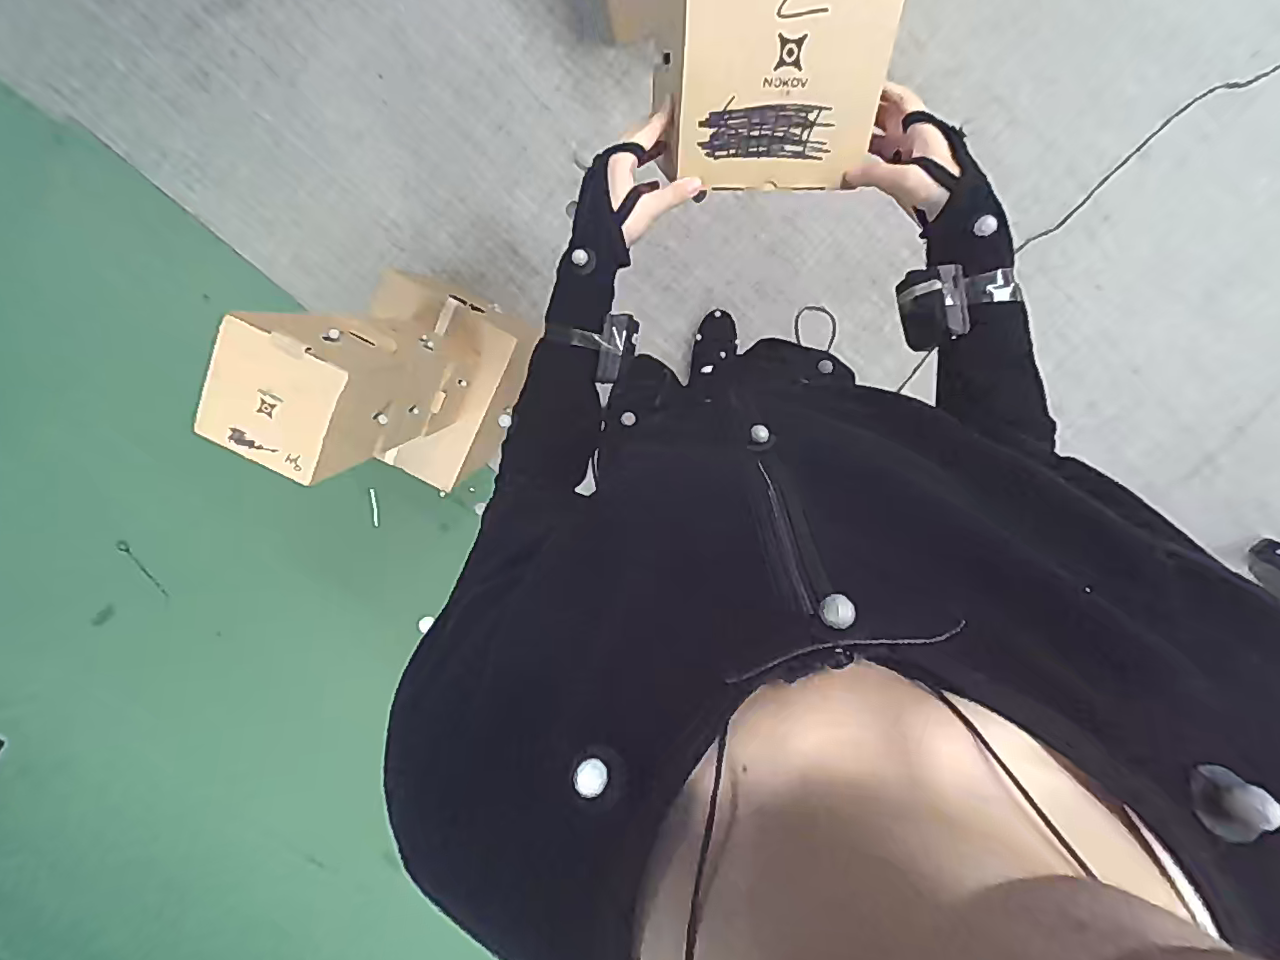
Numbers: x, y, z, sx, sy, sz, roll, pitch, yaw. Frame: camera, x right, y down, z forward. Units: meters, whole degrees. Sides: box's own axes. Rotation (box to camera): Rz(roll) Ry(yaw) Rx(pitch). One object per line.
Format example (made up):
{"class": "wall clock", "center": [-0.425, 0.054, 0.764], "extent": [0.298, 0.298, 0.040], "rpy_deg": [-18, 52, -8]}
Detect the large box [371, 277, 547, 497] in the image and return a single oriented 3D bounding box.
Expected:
{"class": "large box", "center": [-0.471, -0.236, 1.334], "extent": [0.320, 0.320, 0.408], "rpy_deg": [28, 106, -3]}

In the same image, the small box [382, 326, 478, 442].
{"class": "small box", "center": [-0.454, -0.201, 1.089], "extent": [0.179, 0.176, 0.168], "rpy_deg": [28, 105, -5]}

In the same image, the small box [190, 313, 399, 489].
{"class": "small box", "center": [-0.476, -0.117, 0.773], "extent": [0.168, 0.176, 0.179], "rpy_deg": [28, 104, -4]}

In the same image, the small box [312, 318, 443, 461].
{"class": "small box", "center": [-0.464, -0.162, 0.931], "extent": [0.168, 0.176, 0.179], "rpy_deg": [27, 105, -5]}
